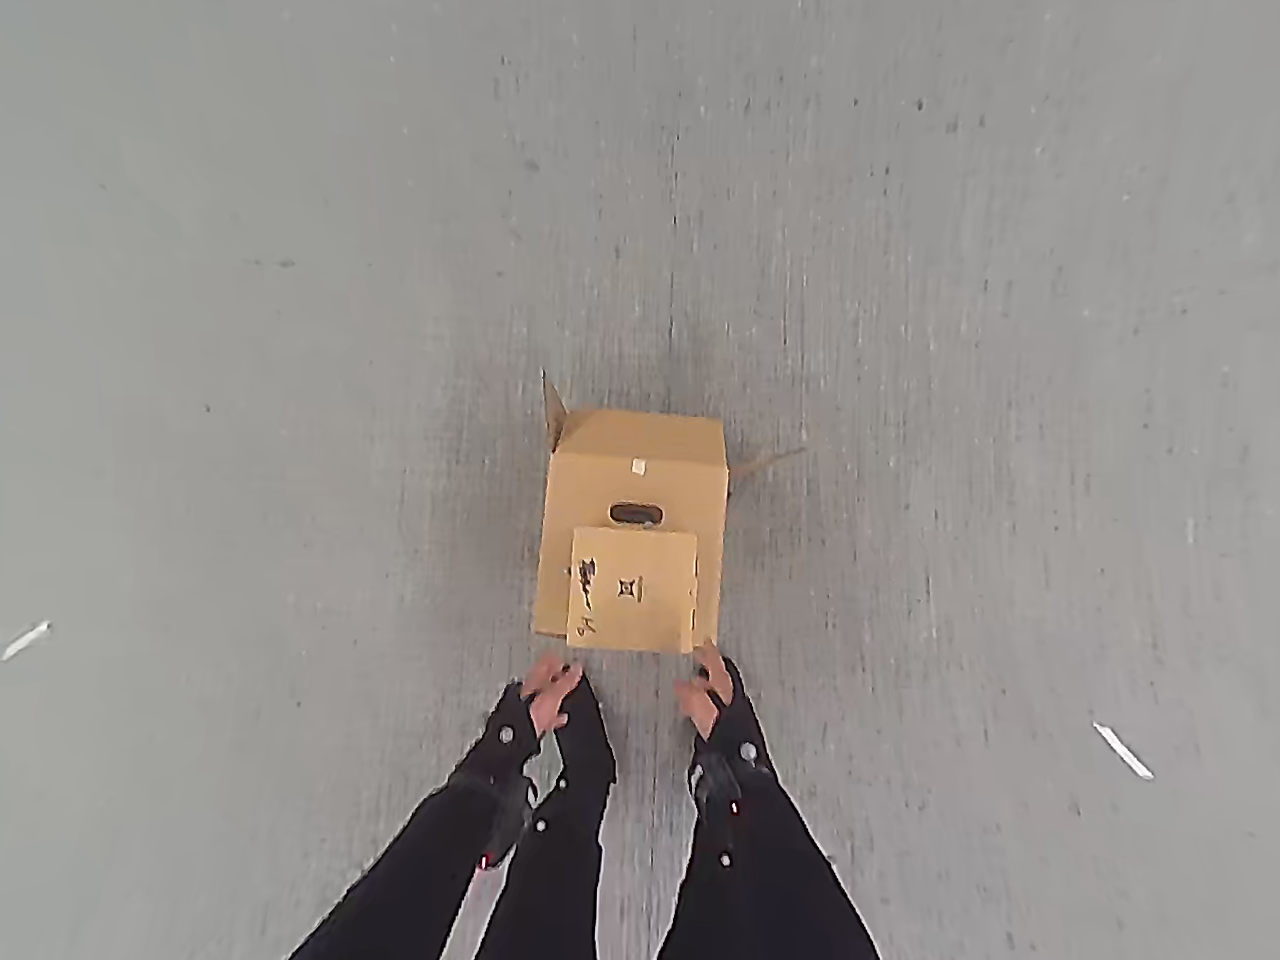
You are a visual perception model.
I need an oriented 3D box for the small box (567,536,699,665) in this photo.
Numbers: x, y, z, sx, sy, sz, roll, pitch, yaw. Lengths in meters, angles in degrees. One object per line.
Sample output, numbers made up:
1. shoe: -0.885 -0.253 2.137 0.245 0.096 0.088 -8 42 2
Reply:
1. small box: -0.010 0.176 0.833 0.179 0.176 0.168 4 85 1
